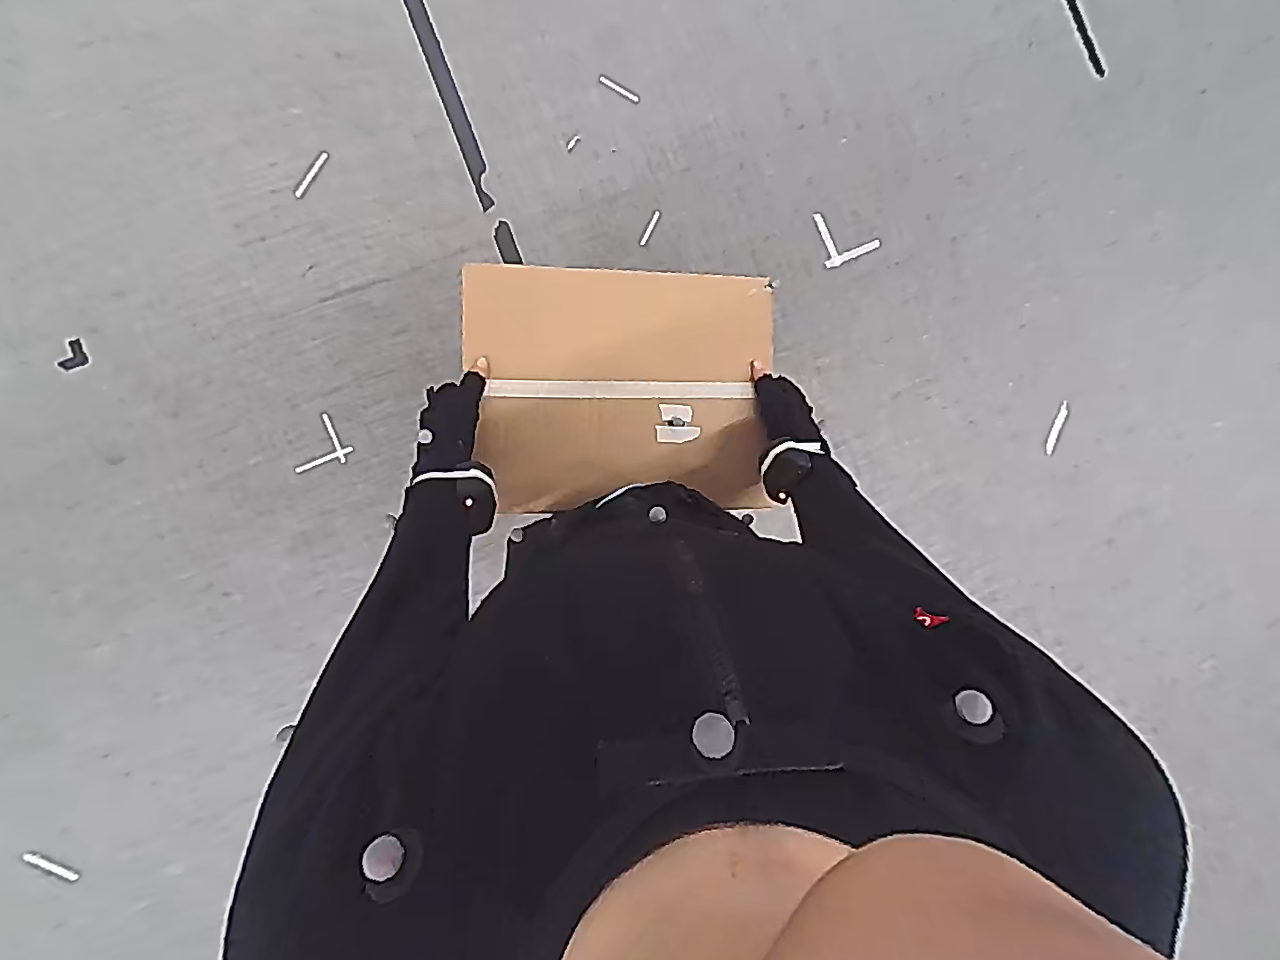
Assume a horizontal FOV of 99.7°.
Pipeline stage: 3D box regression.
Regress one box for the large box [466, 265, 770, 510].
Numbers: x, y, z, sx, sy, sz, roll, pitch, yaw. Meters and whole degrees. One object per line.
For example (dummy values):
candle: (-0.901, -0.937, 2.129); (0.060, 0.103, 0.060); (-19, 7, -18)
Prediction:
large box: (-0.048, -0.116, 0.855); (0.408, 0.320, 0.320); (0, 89, -10)
